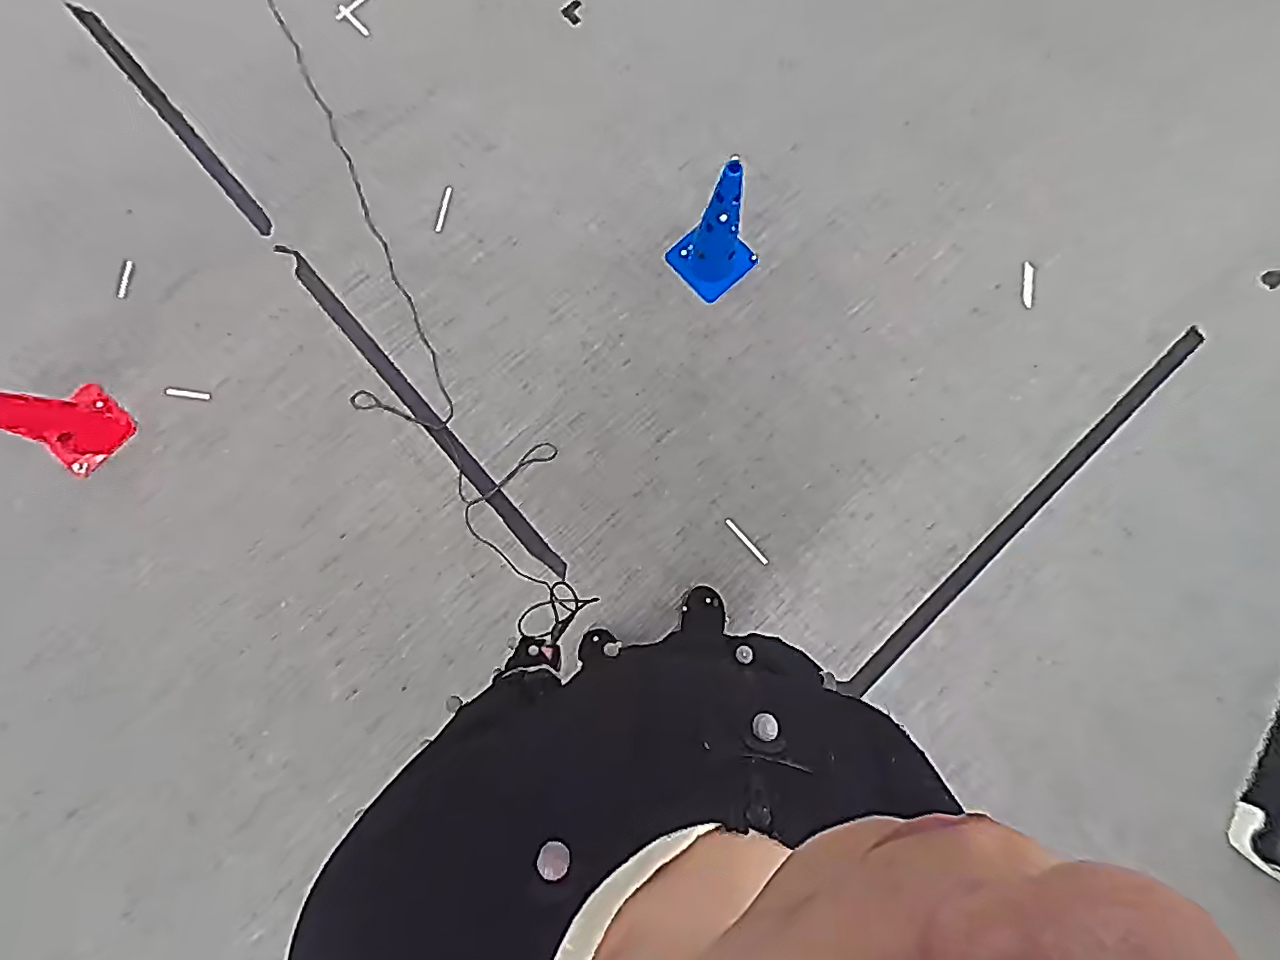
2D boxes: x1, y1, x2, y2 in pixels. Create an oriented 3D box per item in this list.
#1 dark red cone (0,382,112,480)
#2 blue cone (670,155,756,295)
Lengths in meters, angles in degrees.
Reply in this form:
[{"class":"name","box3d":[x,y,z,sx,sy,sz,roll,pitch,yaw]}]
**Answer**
[{"class":"dark red cone","box3d":[-1.482,-0.154,1.230,0.202,0.394,0.201,40,82,6]},{"class":"blue cone","box3d":[0.203,-0.649,1.344,0.192,0.380,0.193,-41,84,-7]}]
